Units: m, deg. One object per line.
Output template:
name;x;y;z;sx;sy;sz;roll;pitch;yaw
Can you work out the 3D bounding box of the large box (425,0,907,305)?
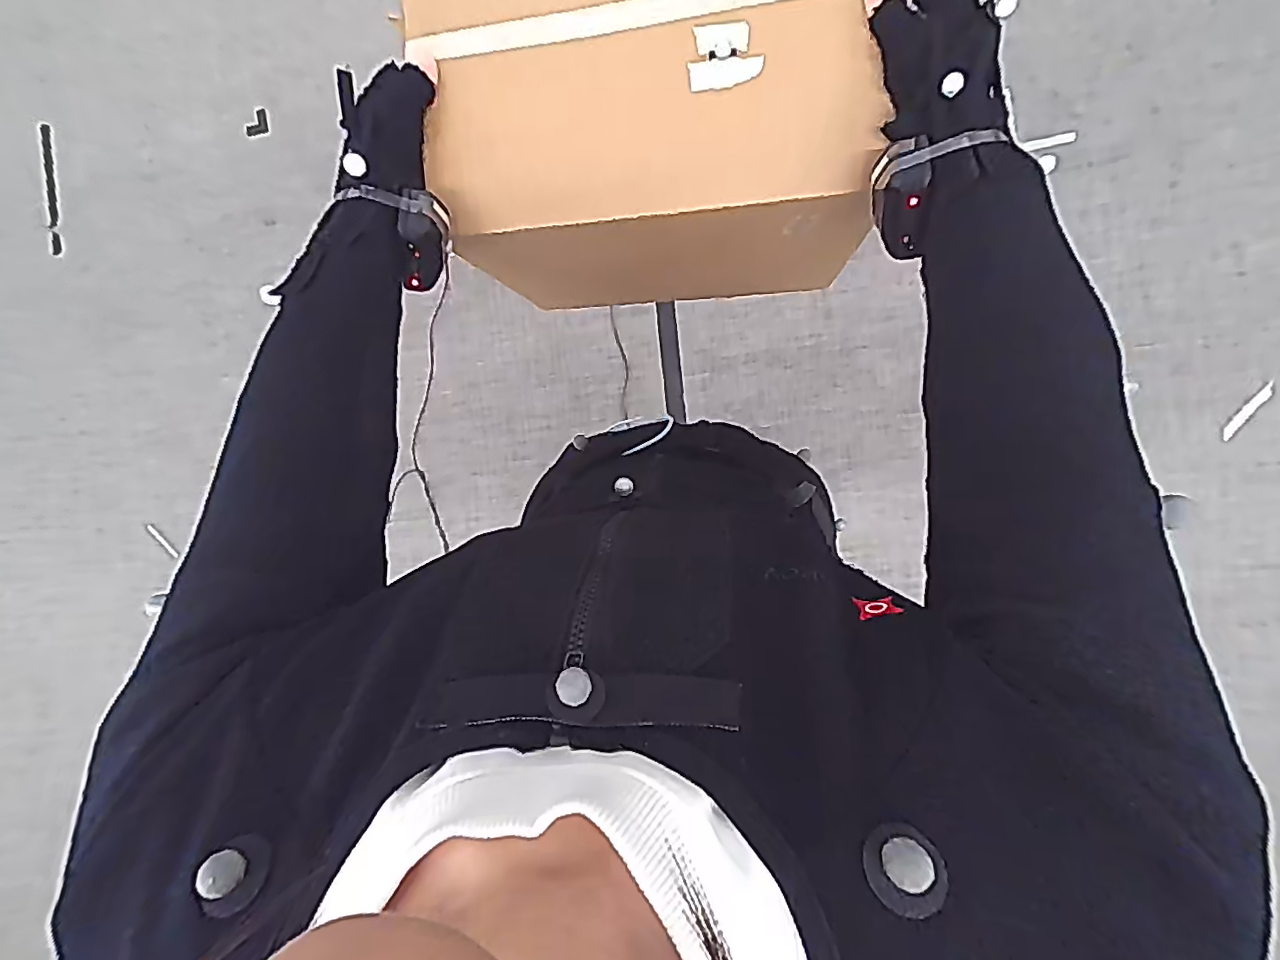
large box;0.028;-0.400;0.595;0.408;0.320;0.320;-2;96;8
